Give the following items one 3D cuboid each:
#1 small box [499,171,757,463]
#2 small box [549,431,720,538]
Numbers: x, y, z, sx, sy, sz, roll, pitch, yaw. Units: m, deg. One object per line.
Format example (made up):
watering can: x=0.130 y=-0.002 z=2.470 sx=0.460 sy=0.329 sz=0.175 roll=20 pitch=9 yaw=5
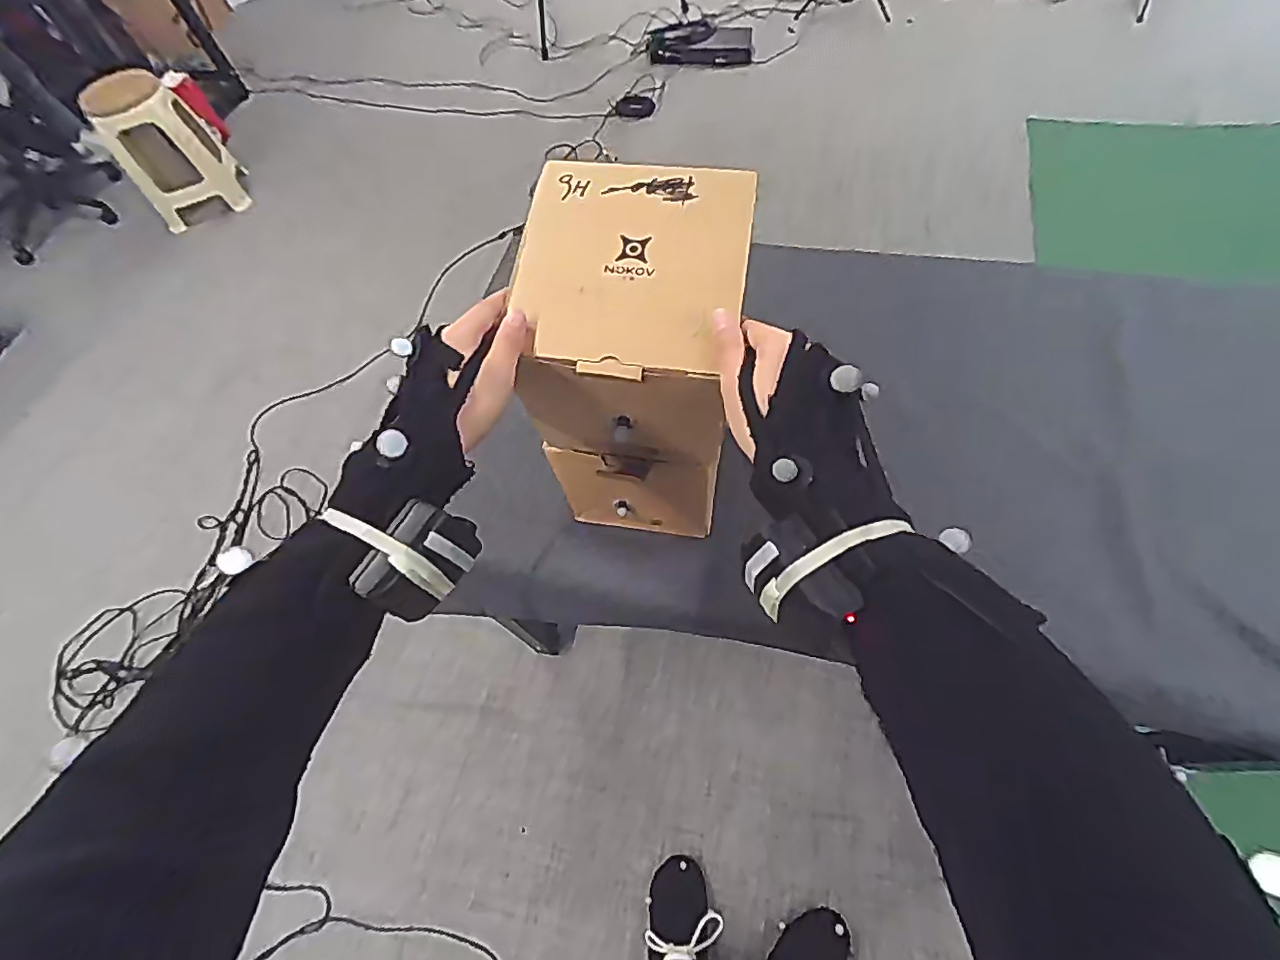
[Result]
small box: x=0.001 y=-0.126 z=0.463 sx=0.168 sy=0.176 sz=0.179 roll=7 pitch=72 yaw=7
small box: x=0.010 y=-0.053 z=0.628 sx=0.168 sy=0.176 sz=0.179 roll=6 pitch=61 yaw=9
